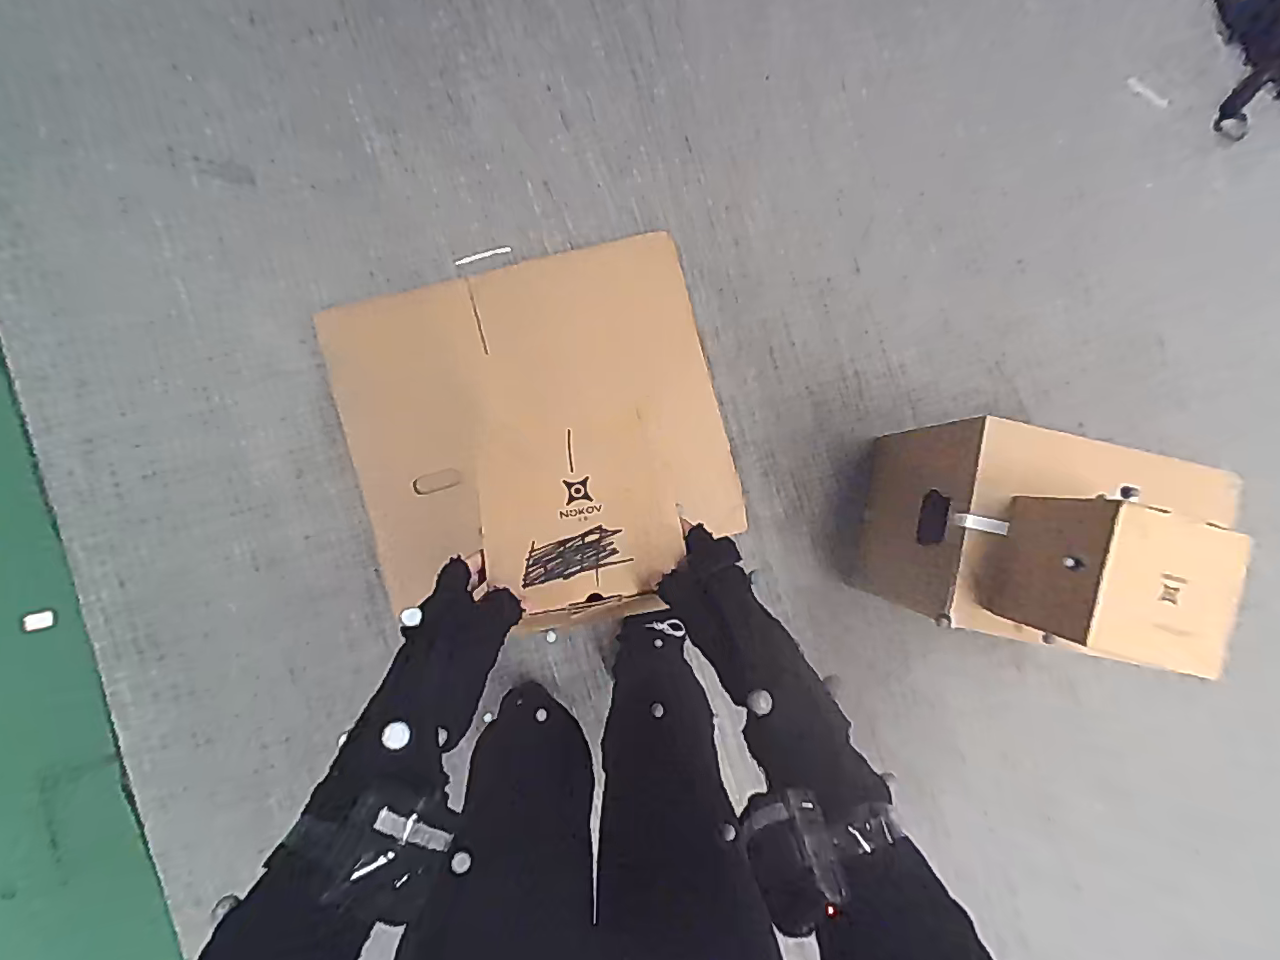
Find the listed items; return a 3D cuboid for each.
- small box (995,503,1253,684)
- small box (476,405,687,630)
[{"bbox_3d":[0.597,0.130,0.692,0.168,0.176,0.179,14,89,-1],"label":"small box"},{"bbox_3d":[-0.056,0.050,0.546,0.168,0.176,0.179,-10,70,-6],"label":"small box"}]
